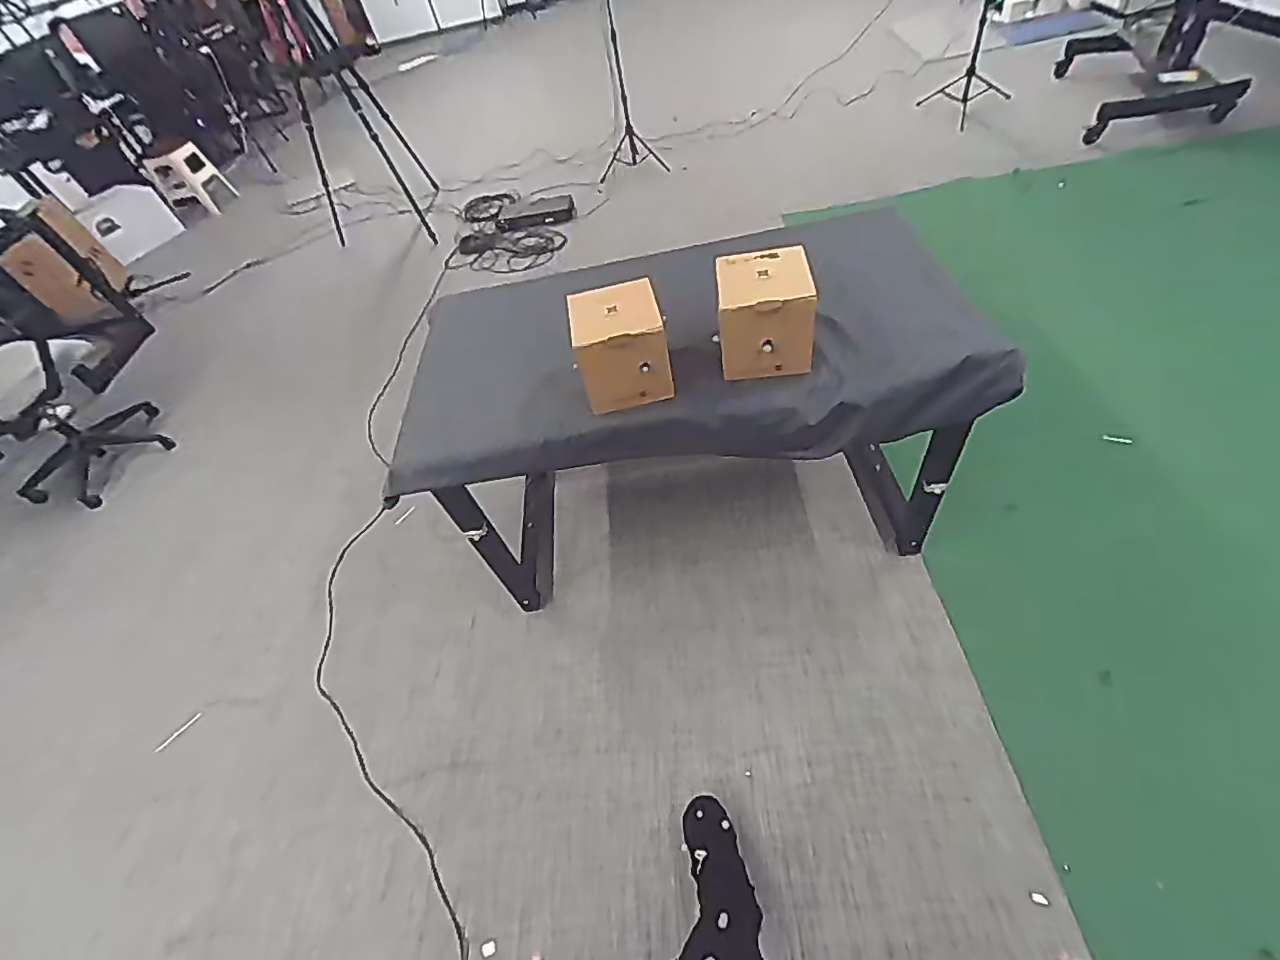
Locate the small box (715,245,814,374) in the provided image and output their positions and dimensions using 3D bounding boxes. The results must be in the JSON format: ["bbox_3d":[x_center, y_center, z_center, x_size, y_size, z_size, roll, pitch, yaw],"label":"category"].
[{"bbox_3d":[0.235,-0.318,1.038,0.168,0.176,0.179,-4,51,9],"label":"small box"}]

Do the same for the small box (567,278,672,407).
[{"bbox_3d":[-0.038,-0.260,1.051,0.168,0.176,0.179,-12,48,0],"label":"small box"}]
